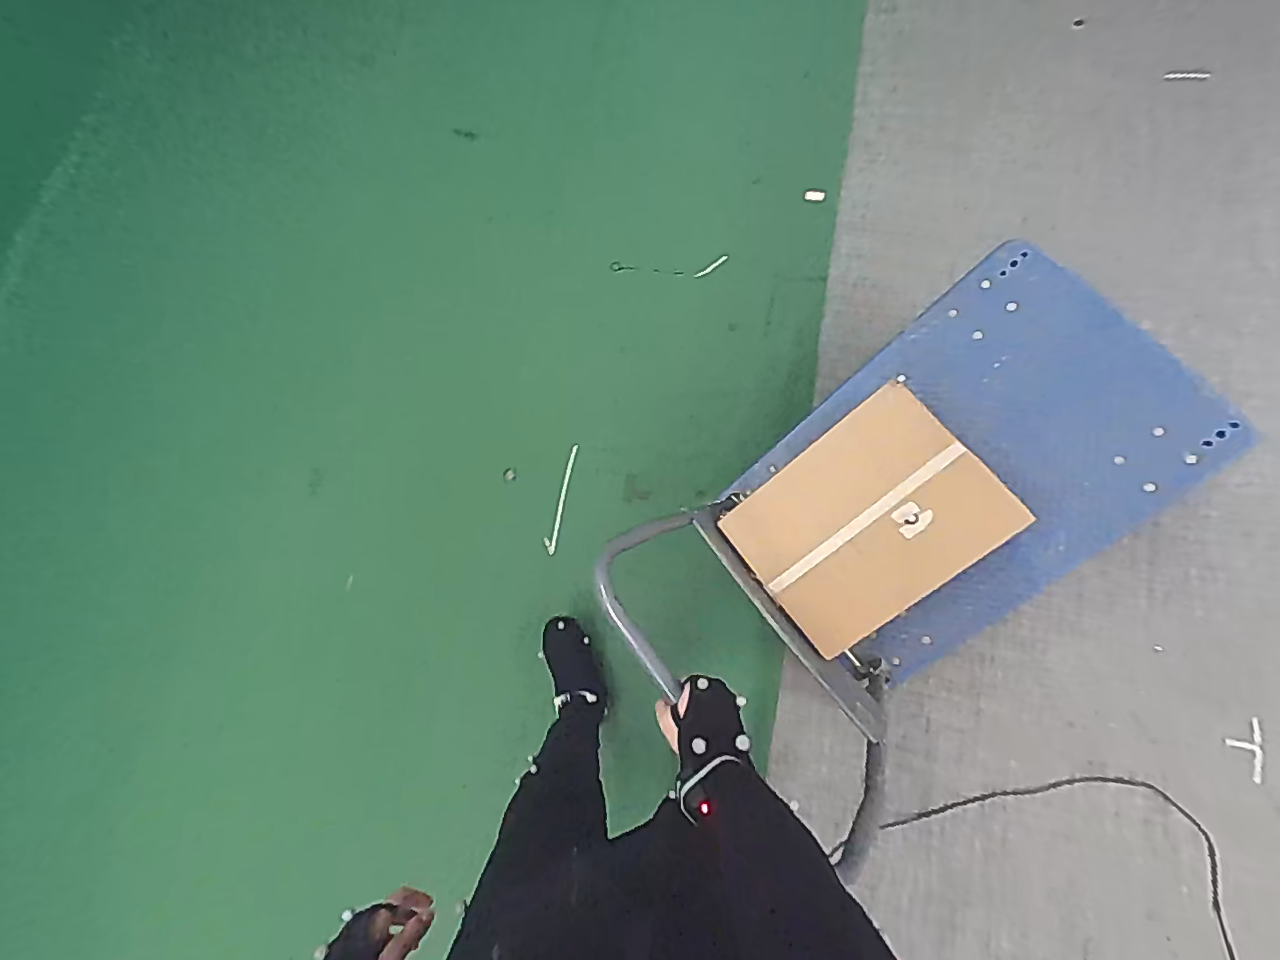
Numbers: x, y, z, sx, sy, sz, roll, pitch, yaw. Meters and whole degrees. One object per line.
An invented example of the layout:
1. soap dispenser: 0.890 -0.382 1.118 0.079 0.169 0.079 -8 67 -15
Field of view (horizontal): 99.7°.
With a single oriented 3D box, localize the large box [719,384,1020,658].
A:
1. large box: 0.432 0.083 1.085 0.408 0.320 0.320 -42 74 15
